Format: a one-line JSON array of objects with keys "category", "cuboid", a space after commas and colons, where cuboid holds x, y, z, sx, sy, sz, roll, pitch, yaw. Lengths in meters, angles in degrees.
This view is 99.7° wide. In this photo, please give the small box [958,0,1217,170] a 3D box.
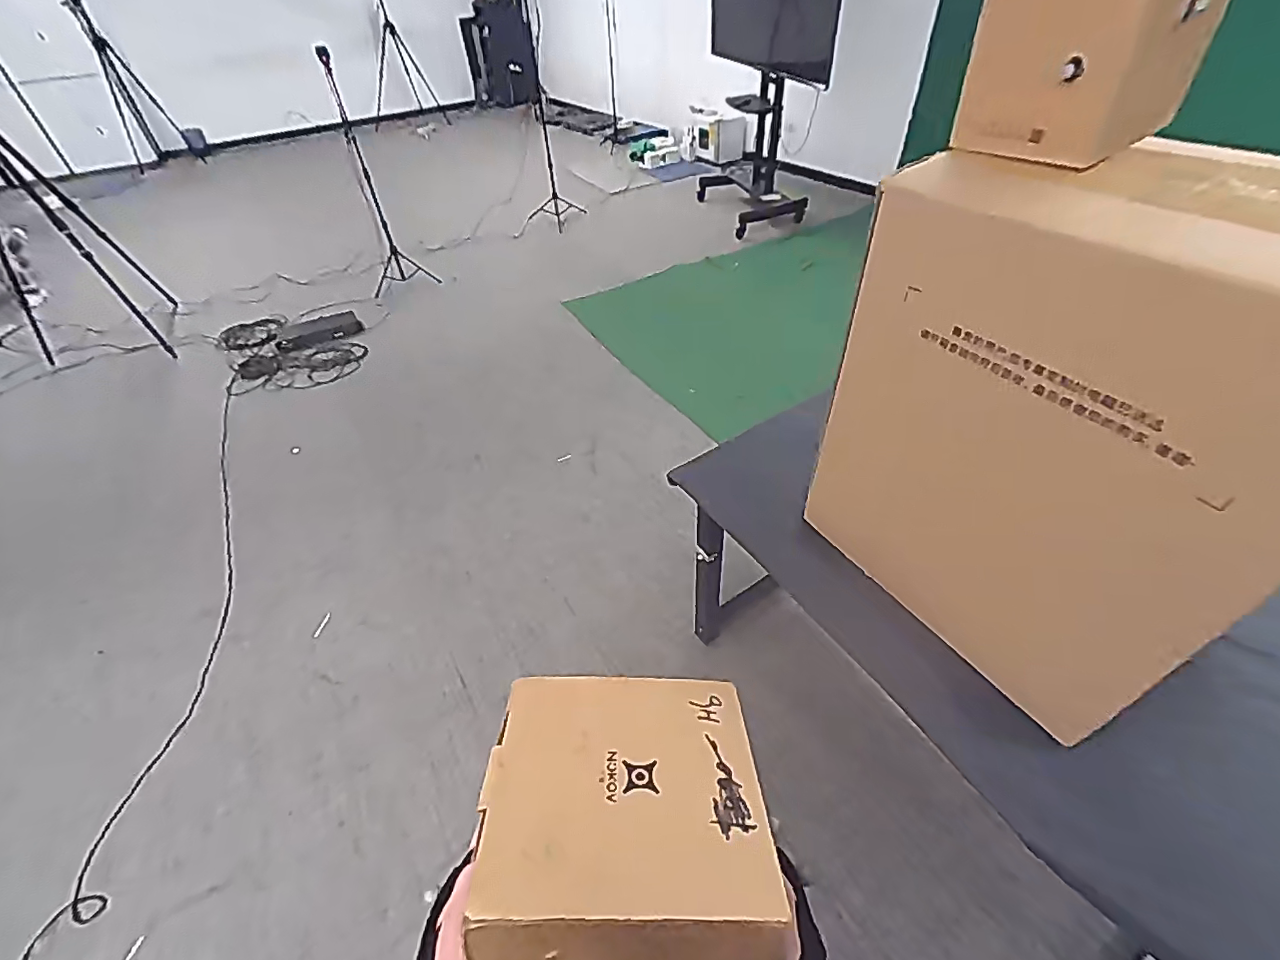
[{"category": "small box", "cuboid": [0.501, -0.476, 0.620, 0.179, 0.176, 0.168, -29, 49, -20]}]

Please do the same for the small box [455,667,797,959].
[{"category": "small box", "cuboid": [-0.013, 0.253, 0.372, 0.179, 0.176, 0.168, 3, 25, -4]}]
